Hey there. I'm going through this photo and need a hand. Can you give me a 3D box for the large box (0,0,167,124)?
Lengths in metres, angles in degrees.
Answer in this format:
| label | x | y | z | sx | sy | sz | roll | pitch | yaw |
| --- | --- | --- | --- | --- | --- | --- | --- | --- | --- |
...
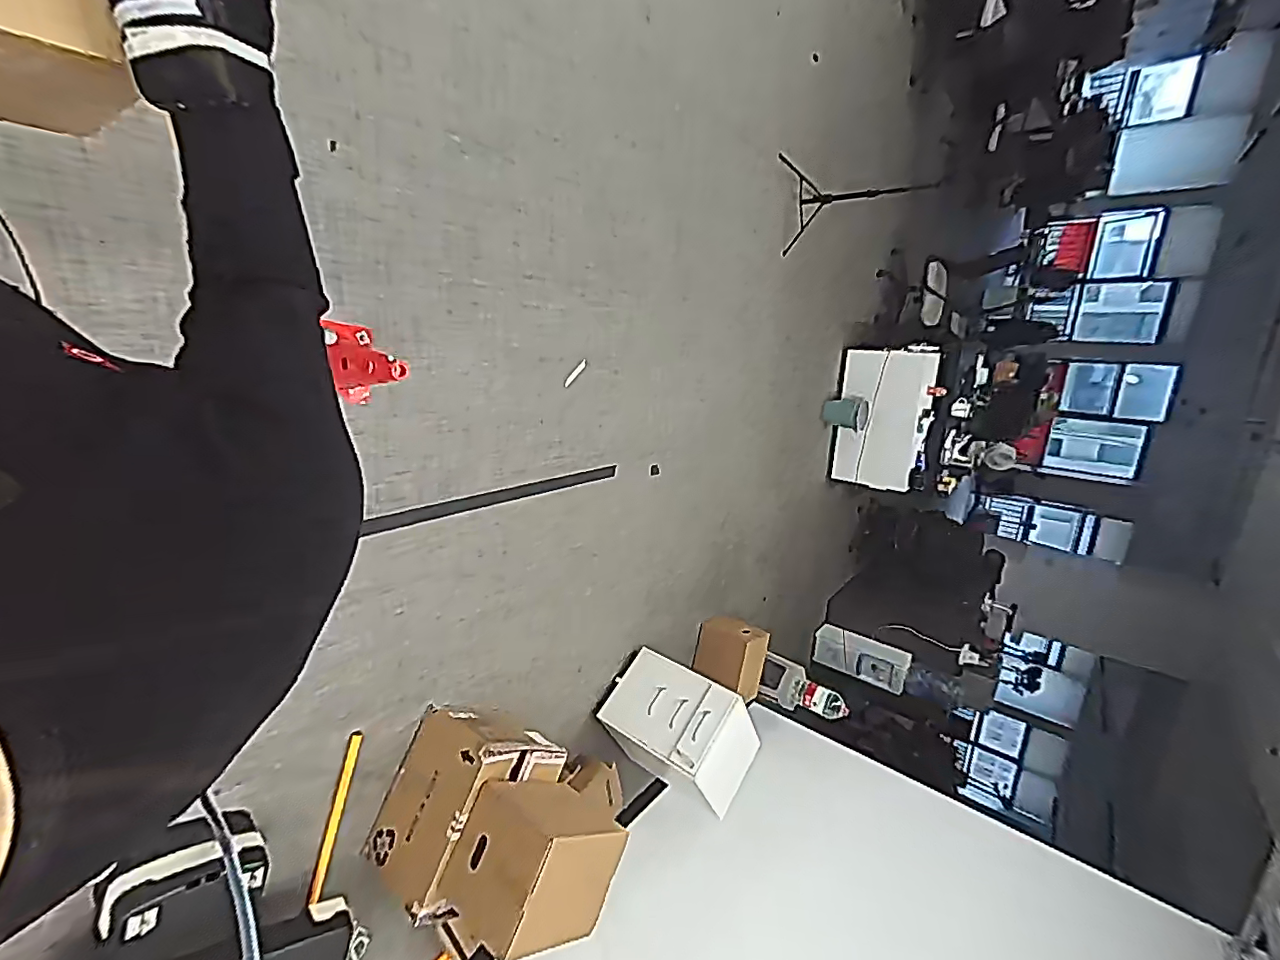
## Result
| label | x | y | z | sx | sy | sz | roll | pitch | yaw |
| --- | --- | --- | --- | --- | --- | --- | --- | --- | --- |
| large box | -0.551 | -0.420 | 0.256 | 0.408 | 0.320 | 0.320 | -18 | 118 | -50 |
